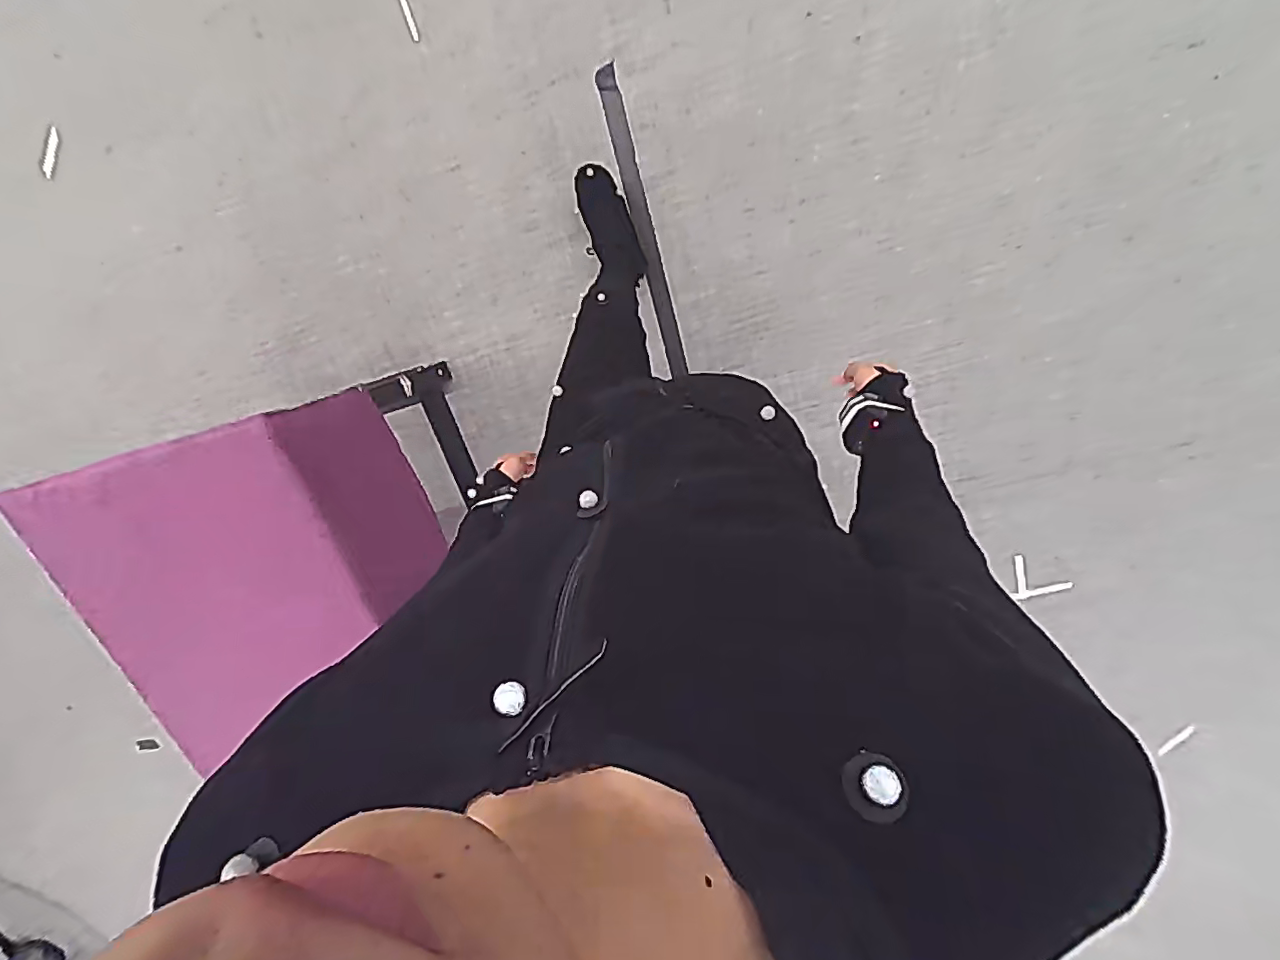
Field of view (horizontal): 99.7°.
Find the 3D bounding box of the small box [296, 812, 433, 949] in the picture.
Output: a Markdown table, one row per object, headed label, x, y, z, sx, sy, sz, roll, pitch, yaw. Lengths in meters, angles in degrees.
| label | x | y | z | sx | sy | sz | roll | pitch | yaw |
| --- | --- | --- | --- | --- | --- | --- | --- | --- | --- |
| small box | -0.573 | 0.852 | 1.161 | 0.179 | 0.176 | 0.168 | -22 | 107 | 14 |
